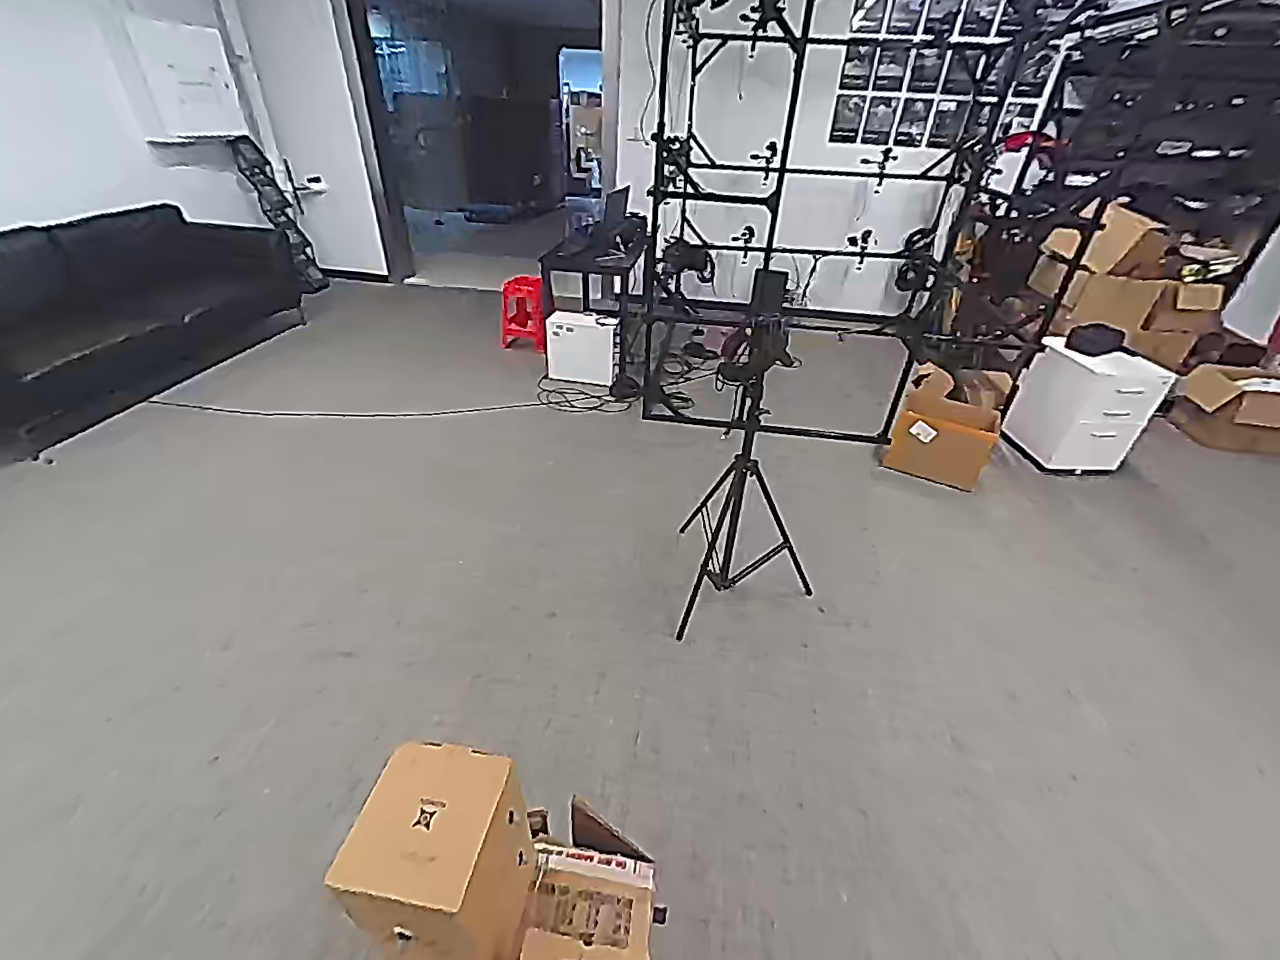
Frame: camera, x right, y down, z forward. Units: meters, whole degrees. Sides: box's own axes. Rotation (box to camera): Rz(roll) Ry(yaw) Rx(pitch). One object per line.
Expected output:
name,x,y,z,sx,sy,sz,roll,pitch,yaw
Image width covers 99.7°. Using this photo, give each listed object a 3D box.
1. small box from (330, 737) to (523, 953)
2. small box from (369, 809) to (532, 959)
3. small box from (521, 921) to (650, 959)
small box,-0.263,0.479,0.718,0.168,0.176,0.179,5,36,7
small box,-0.267,0.611,0.813,0.168,0.176,0.179,6,36,7
small box,-0.084,0.710,0.687,0.168,0.176,0.179,7,37,5
